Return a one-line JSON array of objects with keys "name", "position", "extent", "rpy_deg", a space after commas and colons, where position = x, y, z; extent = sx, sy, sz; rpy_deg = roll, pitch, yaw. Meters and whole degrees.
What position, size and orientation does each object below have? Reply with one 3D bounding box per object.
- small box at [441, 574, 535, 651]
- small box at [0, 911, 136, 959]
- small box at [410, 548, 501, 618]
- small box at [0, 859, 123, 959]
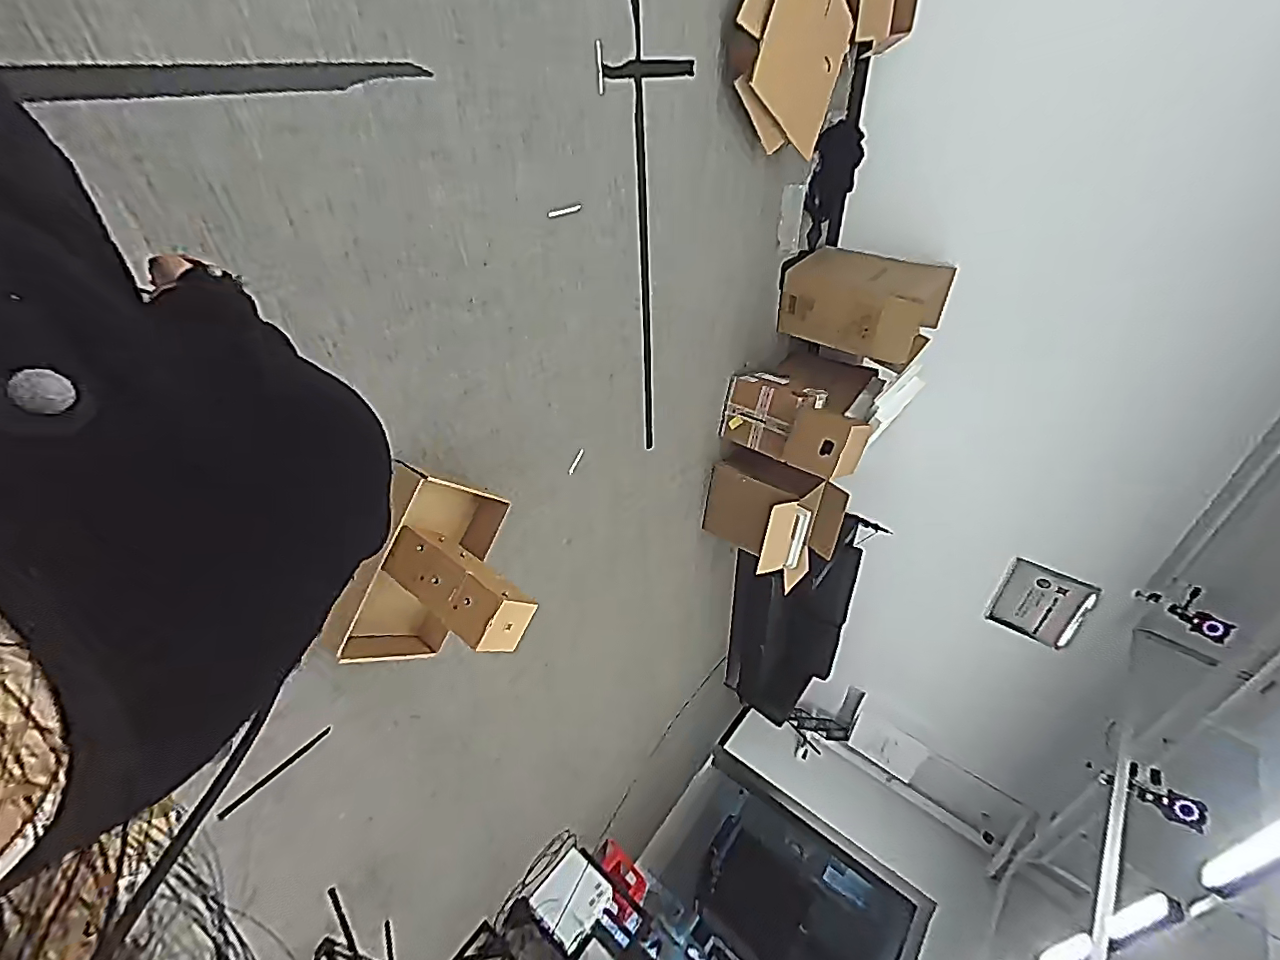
[{"name": "small box", "position": [-0.460, 0.401, 1.638], "extent": [0.168, 0.176, 0.179], "rpy_deg": [-62, 150, -3]}, {"name": "small box", "position": [-1.031, 0.923, 0.949], "extent": [0.179, 0.176, 0.168], "rpy_deg": [-61, 149, -8]}, {"name": "small box", "position": [-0.588, 0.333, 1.713], "extent": [0.168, 0.176, 0.179], "rpy_deg": [-62, 149, -4]}, {"name": "small box", "position": [-1.158, 0.869, 1.035], "extent": [0.179, 0.176, 0.168], "rpy_deg": [-61, 148, -5]}]
